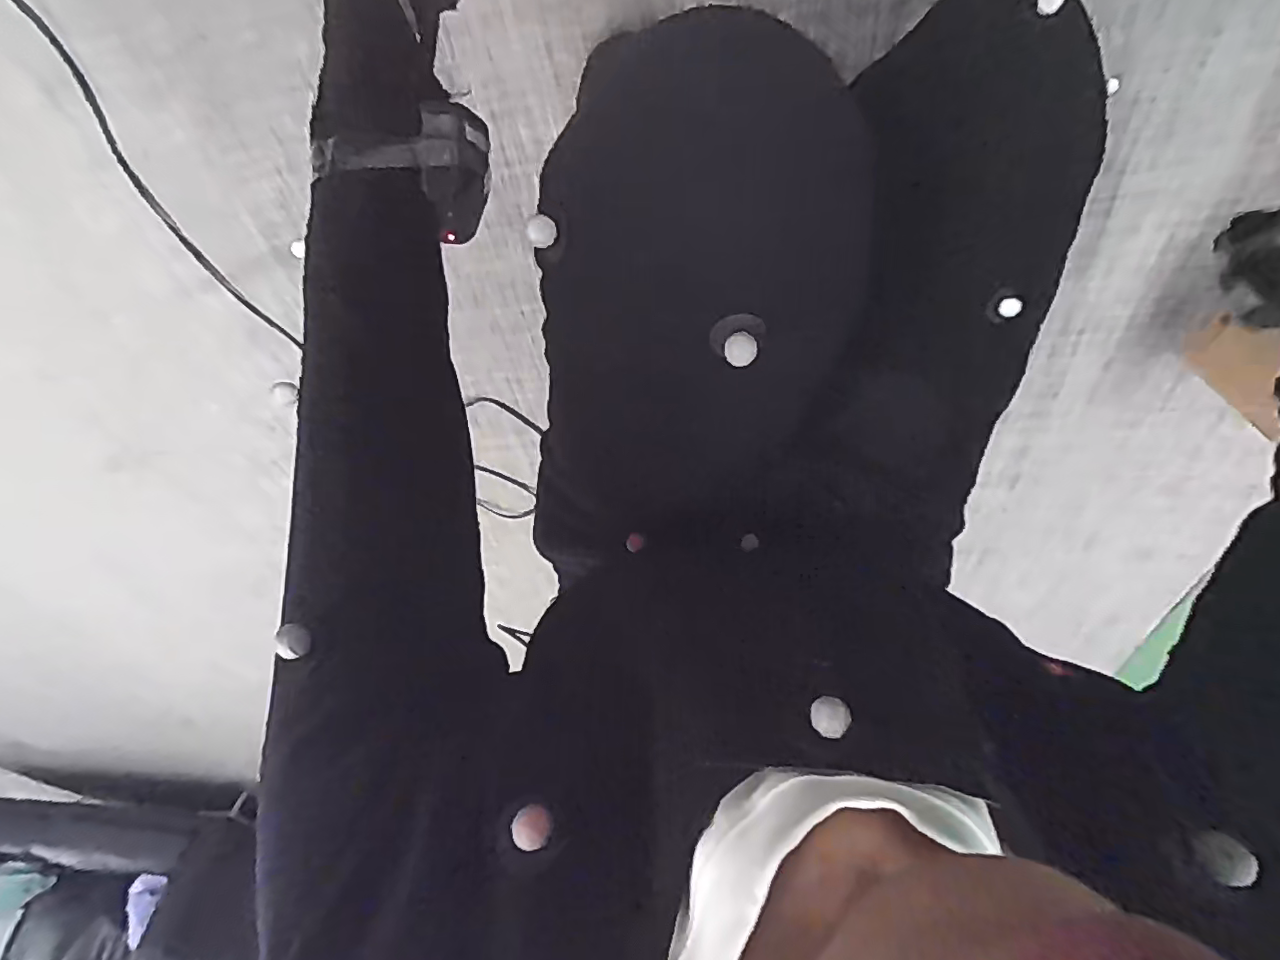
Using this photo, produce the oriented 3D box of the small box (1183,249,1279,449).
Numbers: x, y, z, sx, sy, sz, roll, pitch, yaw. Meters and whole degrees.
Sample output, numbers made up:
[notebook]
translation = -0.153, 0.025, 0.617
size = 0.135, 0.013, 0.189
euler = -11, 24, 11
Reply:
[small box]
translation = 0.722, -0.137, 0.536
size = 0.179, 0.176, 0.168
euler = 5, 135, 3
